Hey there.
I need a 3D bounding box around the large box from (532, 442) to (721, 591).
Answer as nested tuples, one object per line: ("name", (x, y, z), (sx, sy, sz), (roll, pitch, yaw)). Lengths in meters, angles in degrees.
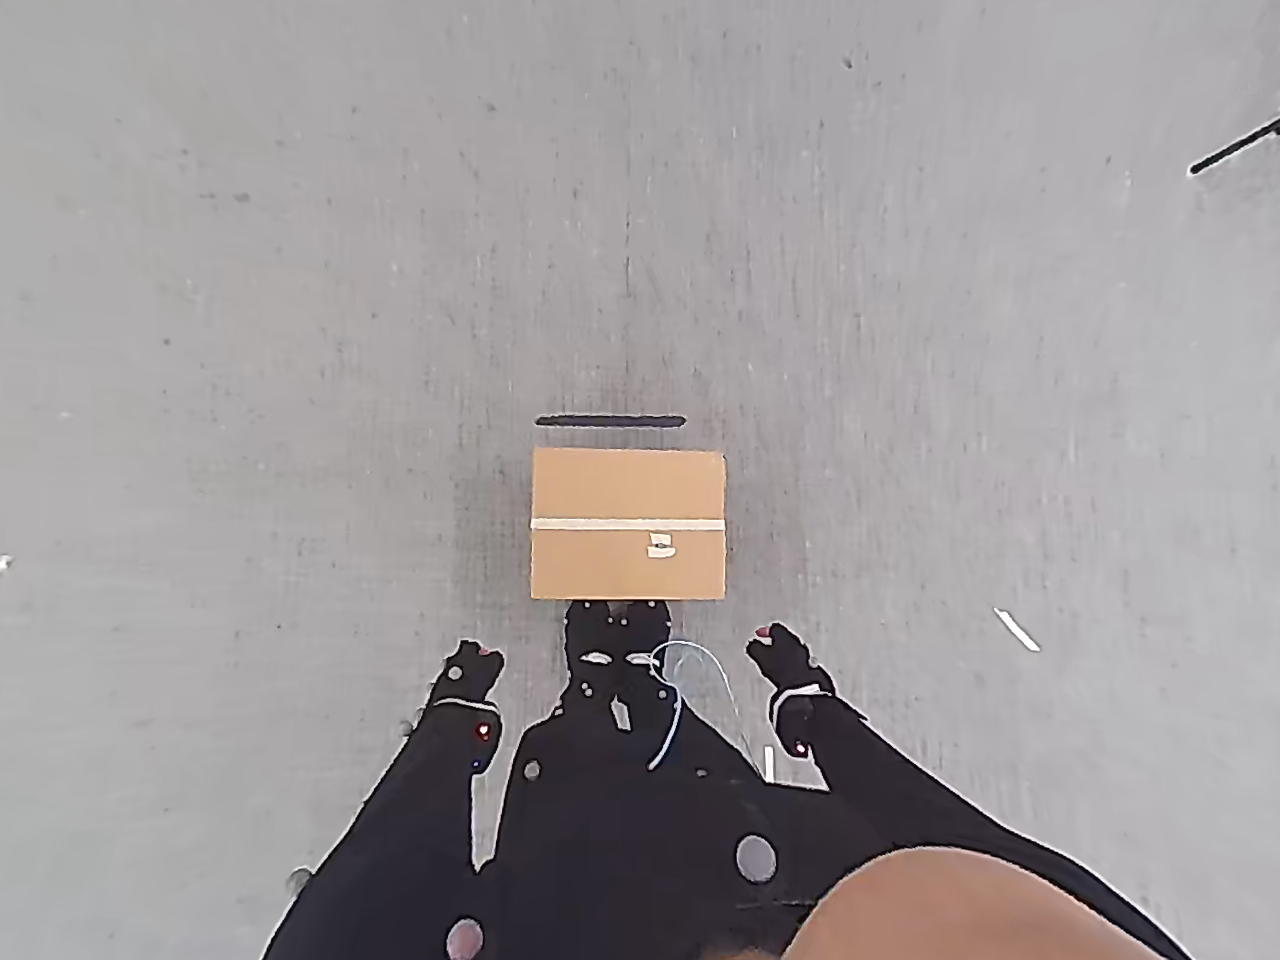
("large box", (-0.041, 0.085, 1.286), (0.408, 0.320, 0.320), (1, 87, -5))
